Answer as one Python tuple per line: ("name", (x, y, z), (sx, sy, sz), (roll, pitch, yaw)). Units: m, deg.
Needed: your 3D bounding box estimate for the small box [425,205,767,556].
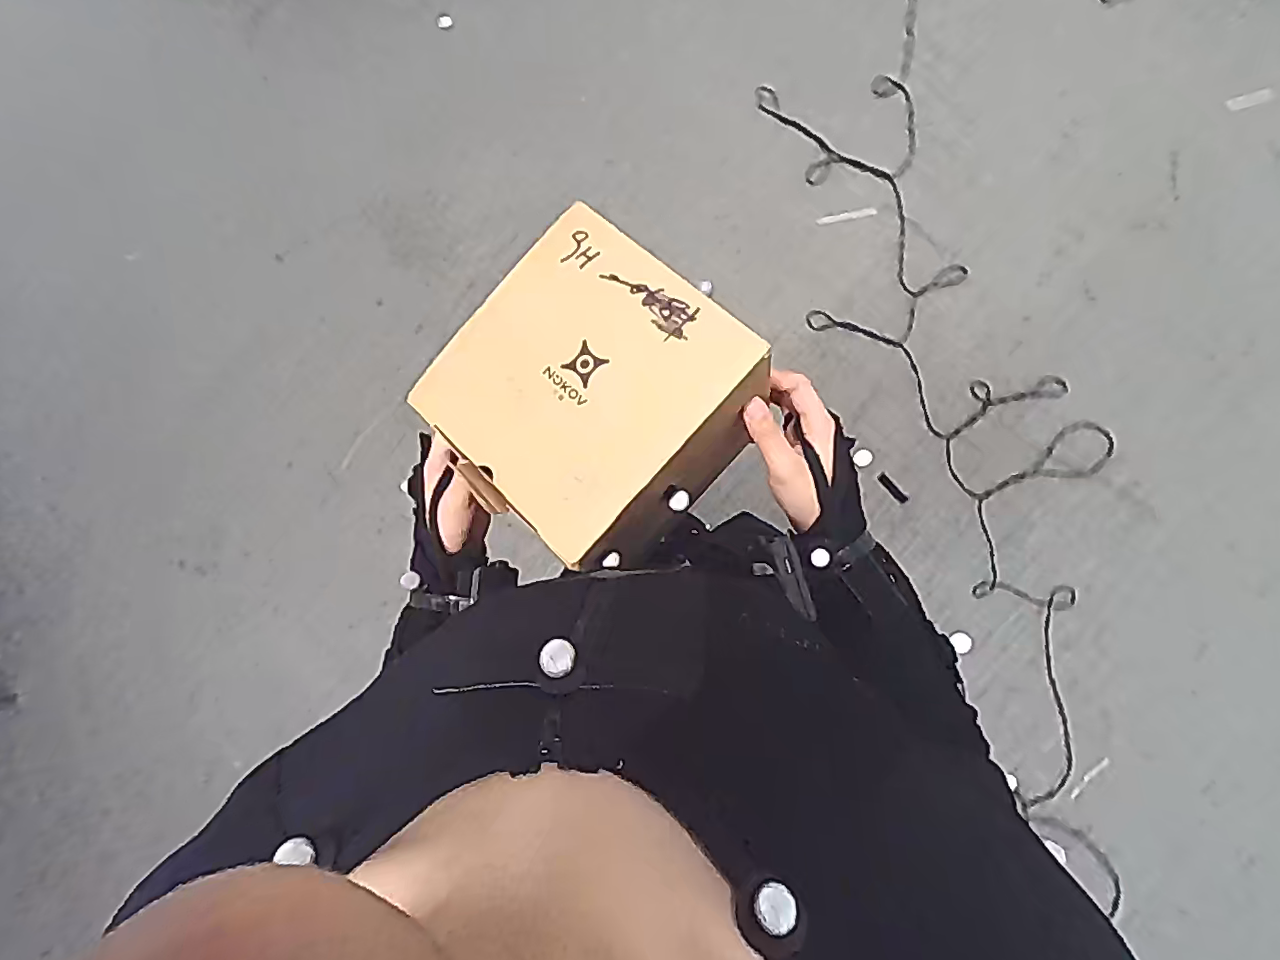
("small box", (-0.017, -0.057, 0.420), (0.168, 0.176, 0.179), (43, 93, 15))
